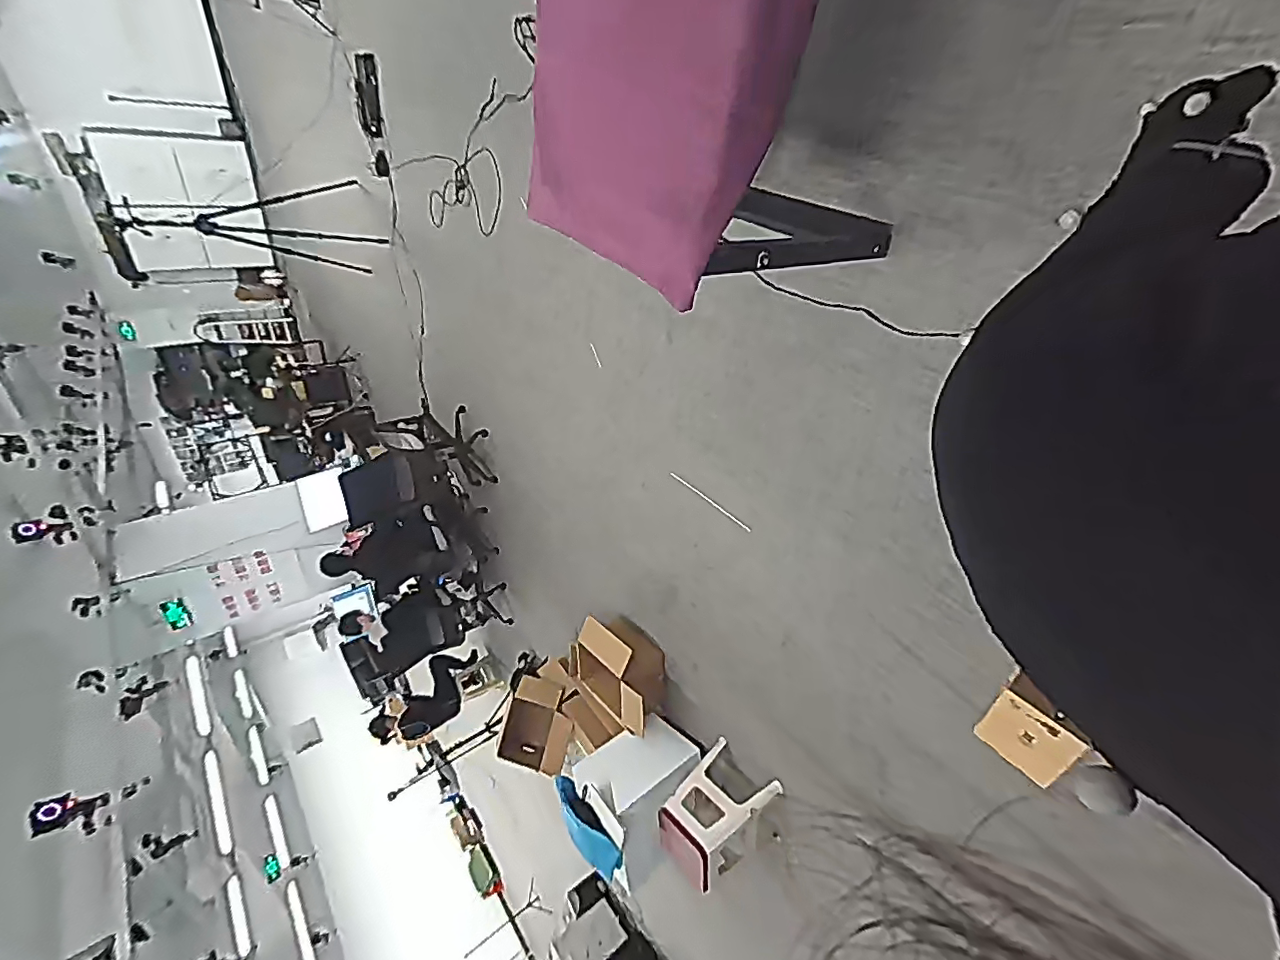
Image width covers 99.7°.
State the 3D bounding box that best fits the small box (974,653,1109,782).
[{"bbox_3d":[0.917,0.535,1.235,0.168,0.176,0.179,39,136,37],"label":"small box"}]
